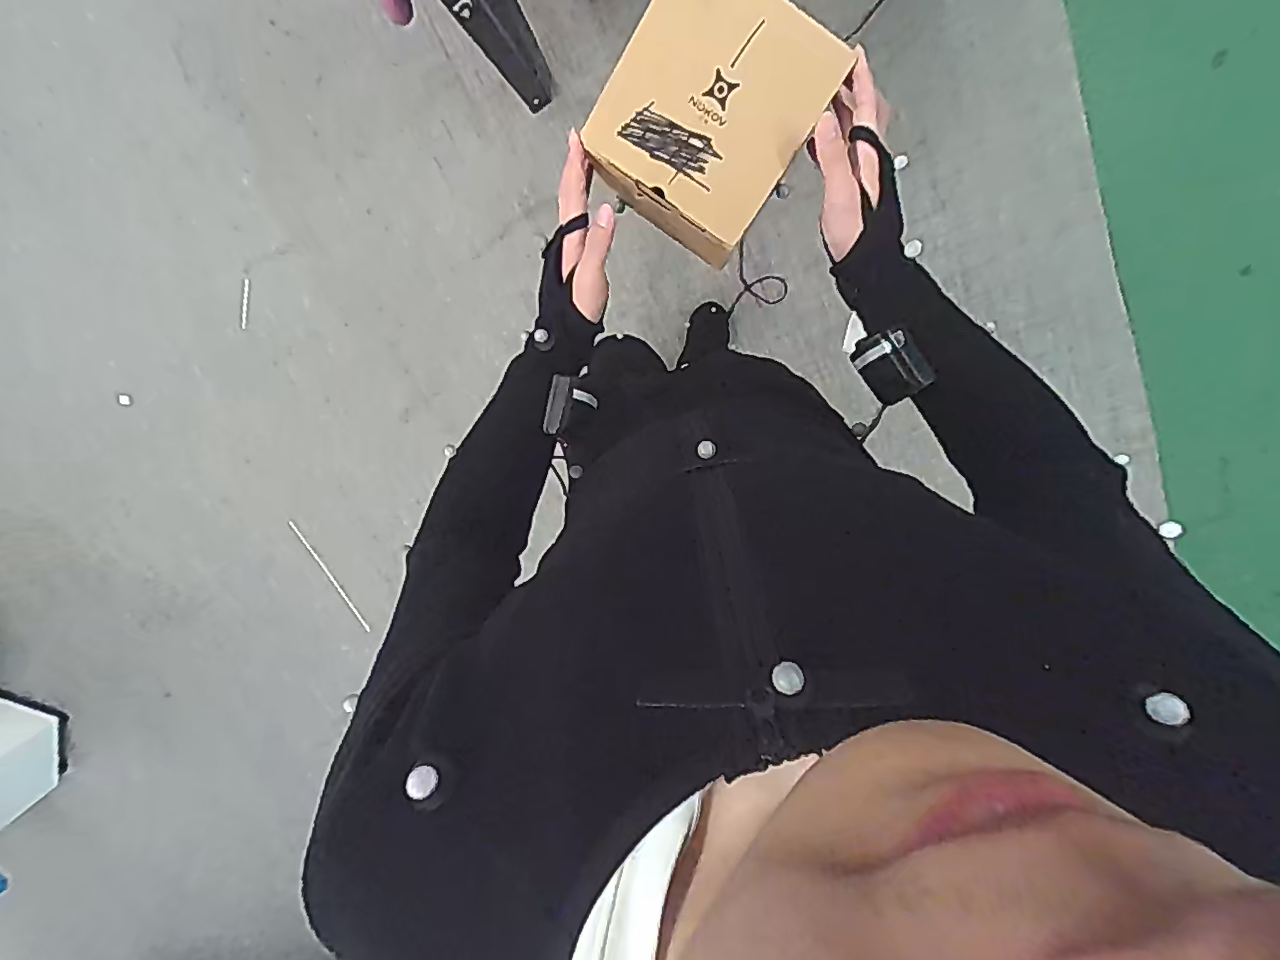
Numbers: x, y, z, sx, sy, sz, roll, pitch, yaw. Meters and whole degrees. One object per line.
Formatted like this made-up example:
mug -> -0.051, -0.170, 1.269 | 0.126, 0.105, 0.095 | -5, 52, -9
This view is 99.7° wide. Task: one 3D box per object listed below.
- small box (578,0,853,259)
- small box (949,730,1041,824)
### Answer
small box -> 0.066, -0.341, 0.524 | 0.168, 0.176, 0.179 | 34, 104, -5
small box -> 1.010, 0.849, 1.554 | 0.179, 0.176, 0.168 | -12, 108, 10
